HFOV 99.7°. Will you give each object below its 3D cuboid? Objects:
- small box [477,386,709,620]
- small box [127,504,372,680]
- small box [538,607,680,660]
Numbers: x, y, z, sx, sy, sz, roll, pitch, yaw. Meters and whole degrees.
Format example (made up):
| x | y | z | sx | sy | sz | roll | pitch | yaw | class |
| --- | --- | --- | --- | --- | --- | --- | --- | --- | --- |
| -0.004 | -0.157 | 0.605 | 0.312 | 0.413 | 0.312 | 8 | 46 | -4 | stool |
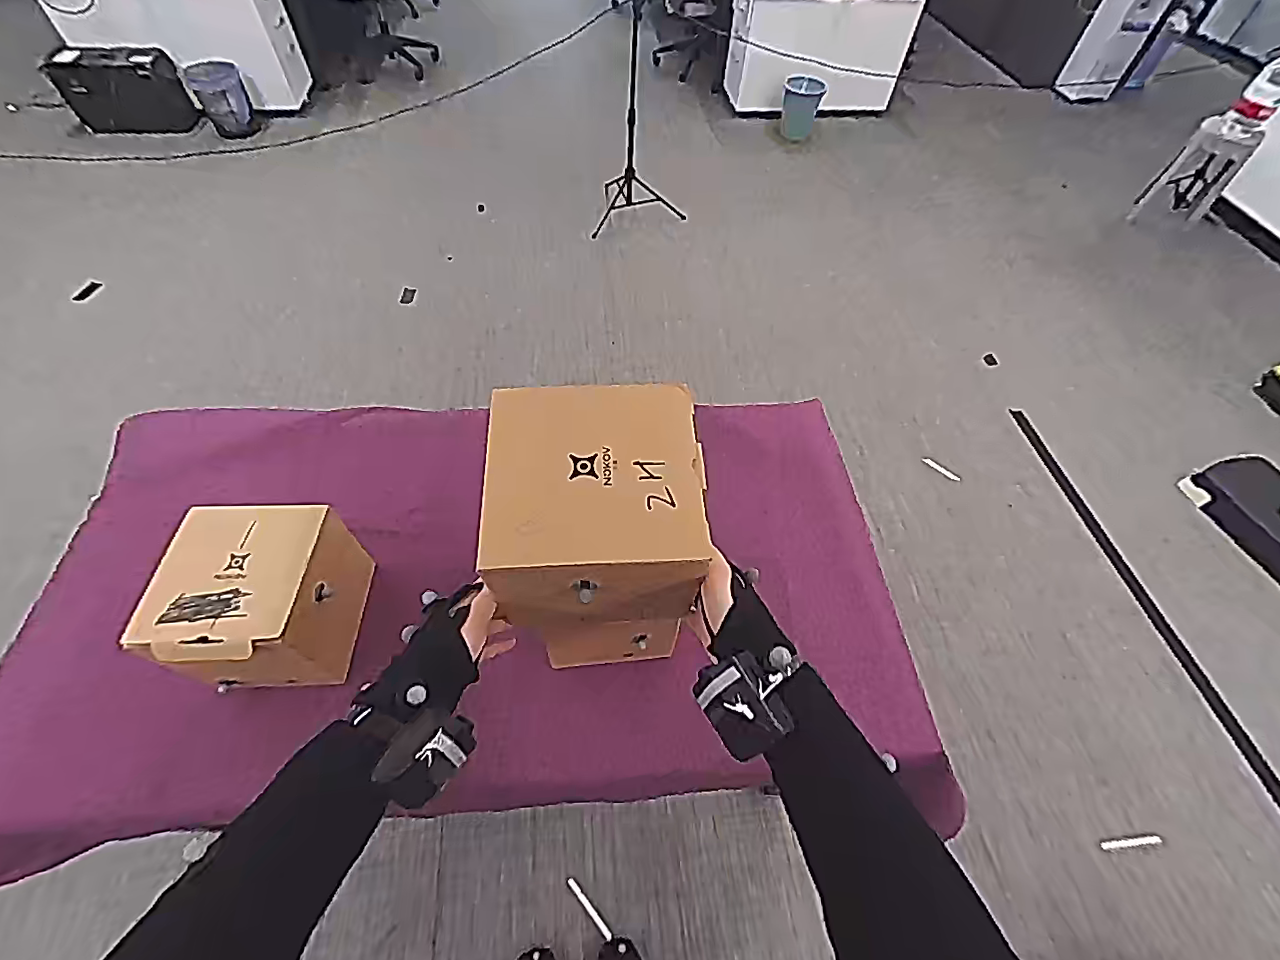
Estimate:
| x | y | z | sx | sy | sz | roll | pitch | yaw | class |
| --- | --- | --- | --- | --- | --- | --- | --- | --- | --- |
| -0.040 | 0.029 | 0.507 | 0.179 | 0.176 | 0.168 | -1 | 61 | -4 | small box |
| -0.466 | 0.148 | 0.684 | 0.168 | 0.176 | 0.179 | 0 | 54 | -4 | small box |
| -0.044 | 0.132 | 0.721 | 0.168 | 0.176 | 0.179 | -3 | 55 | -6 | small box |
